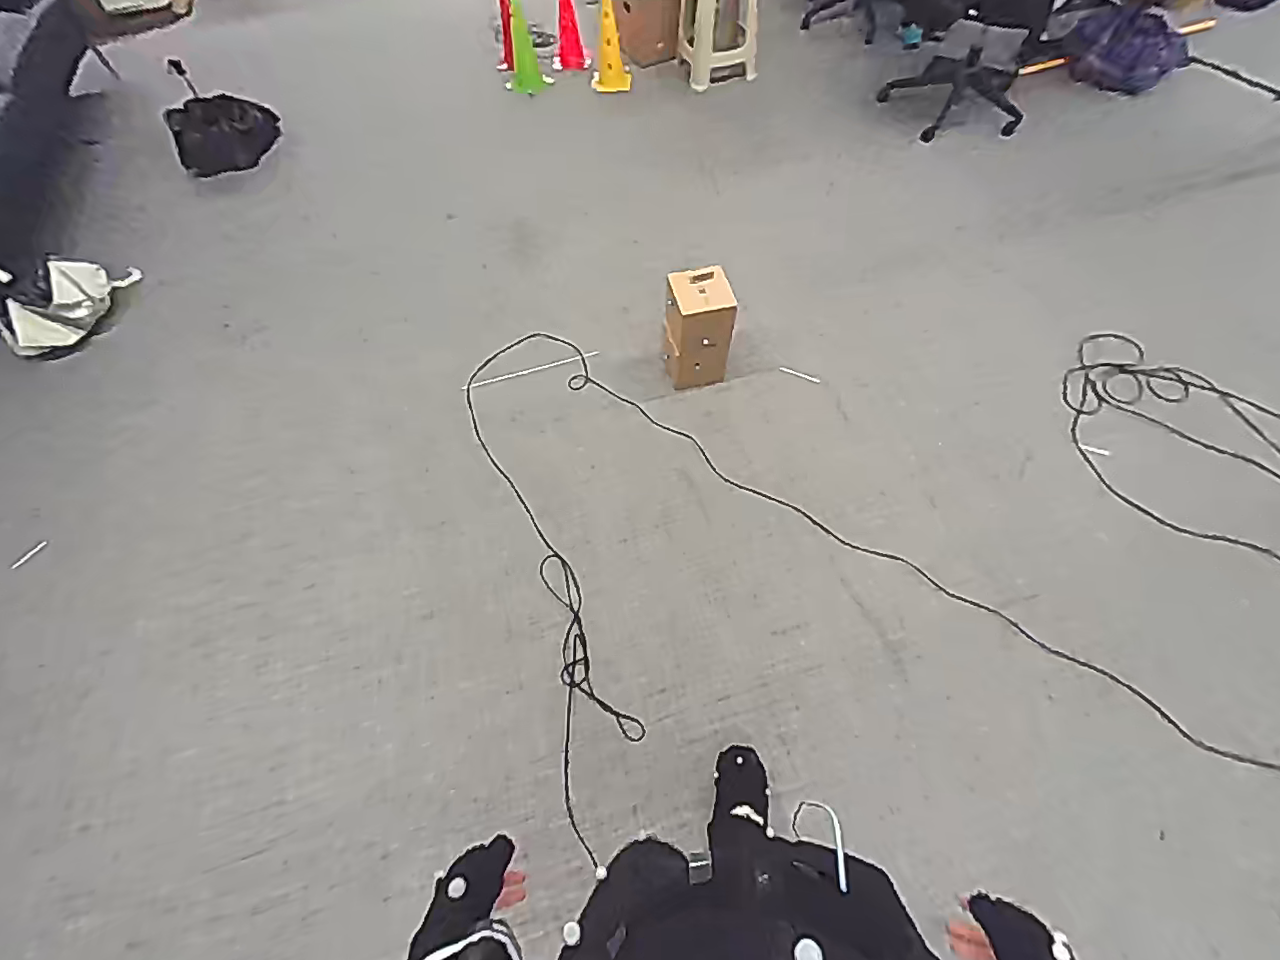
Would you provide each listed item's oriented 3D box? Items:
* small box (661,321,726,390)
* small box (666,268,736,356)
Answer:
[{"bbox_3d":[0.174,-0.417,1.765,0.179,0.176,0.168,-13,61,-5],"label":"small box"},{"bbox_3d":[0.176,-0.500,1.622,0.168,0.176,0.179,-12,61,-5],"label":"small box"}]
